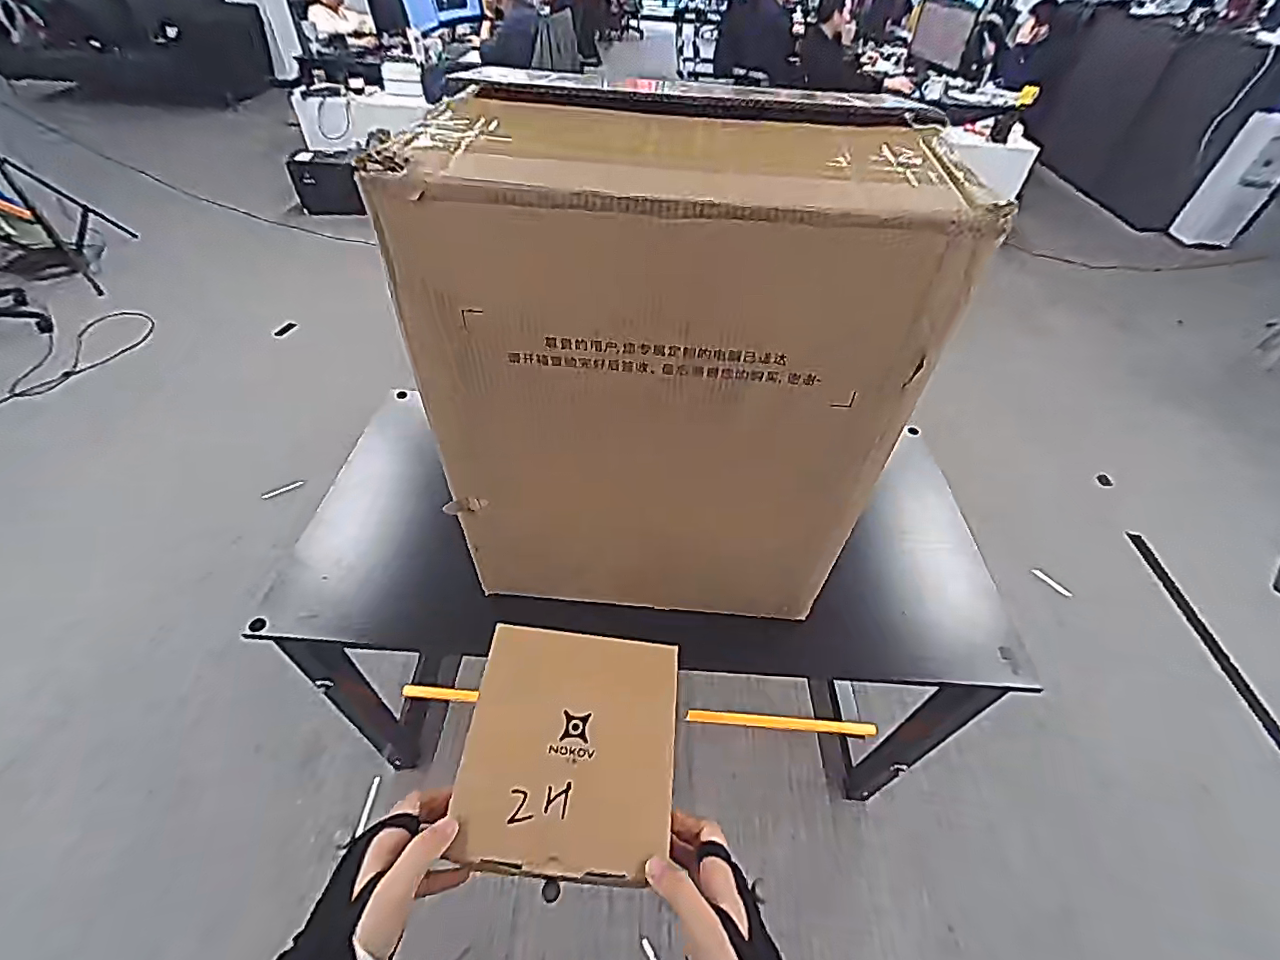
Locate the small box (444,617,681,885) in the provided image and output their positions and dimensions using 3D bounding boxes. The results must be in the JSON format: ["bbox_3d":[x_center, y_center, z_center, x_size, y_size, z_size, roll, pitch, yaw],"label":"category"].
[{"bbox_3d":[-0.060,0.249,0.492,0.168,0.176,0.179,7,51,-1],"label":"small box"}]
